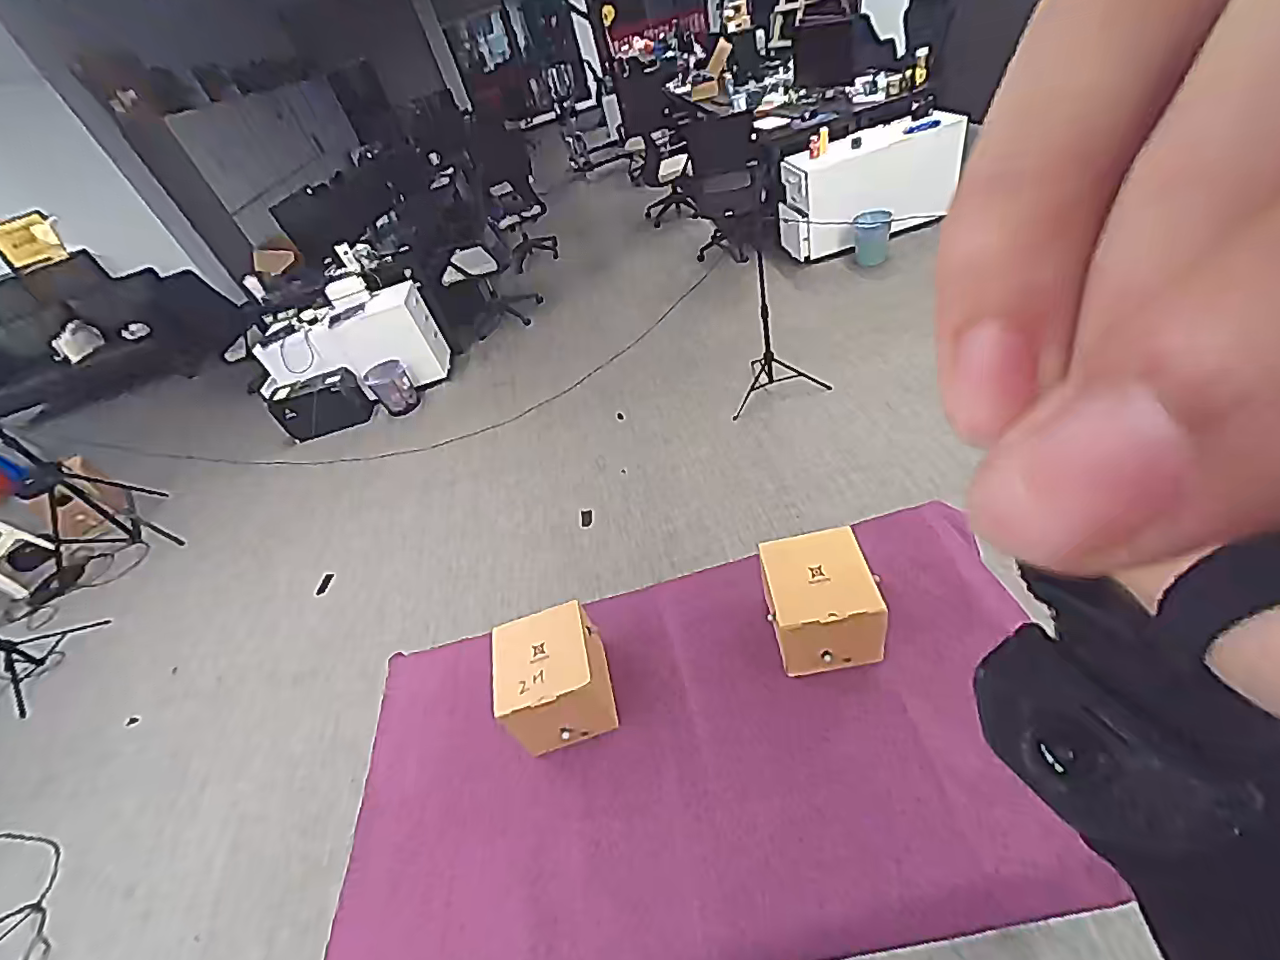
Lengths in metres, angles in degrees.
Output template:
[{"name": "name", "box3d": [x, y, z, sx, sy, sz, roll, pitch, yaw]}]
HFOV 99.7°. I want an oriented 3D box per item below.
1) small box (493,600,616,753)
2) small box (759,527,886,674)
[{"name": "small box", "box3d": [-0.153, 0.354, 0.973, 0.168, 0.176, 0.179, -19, 41, 0]}, {"name": "small box", "box3d": [0.314, 0.214, 0.954, 0.168, 0.176, 0.179, -13, 42, 7]}]
